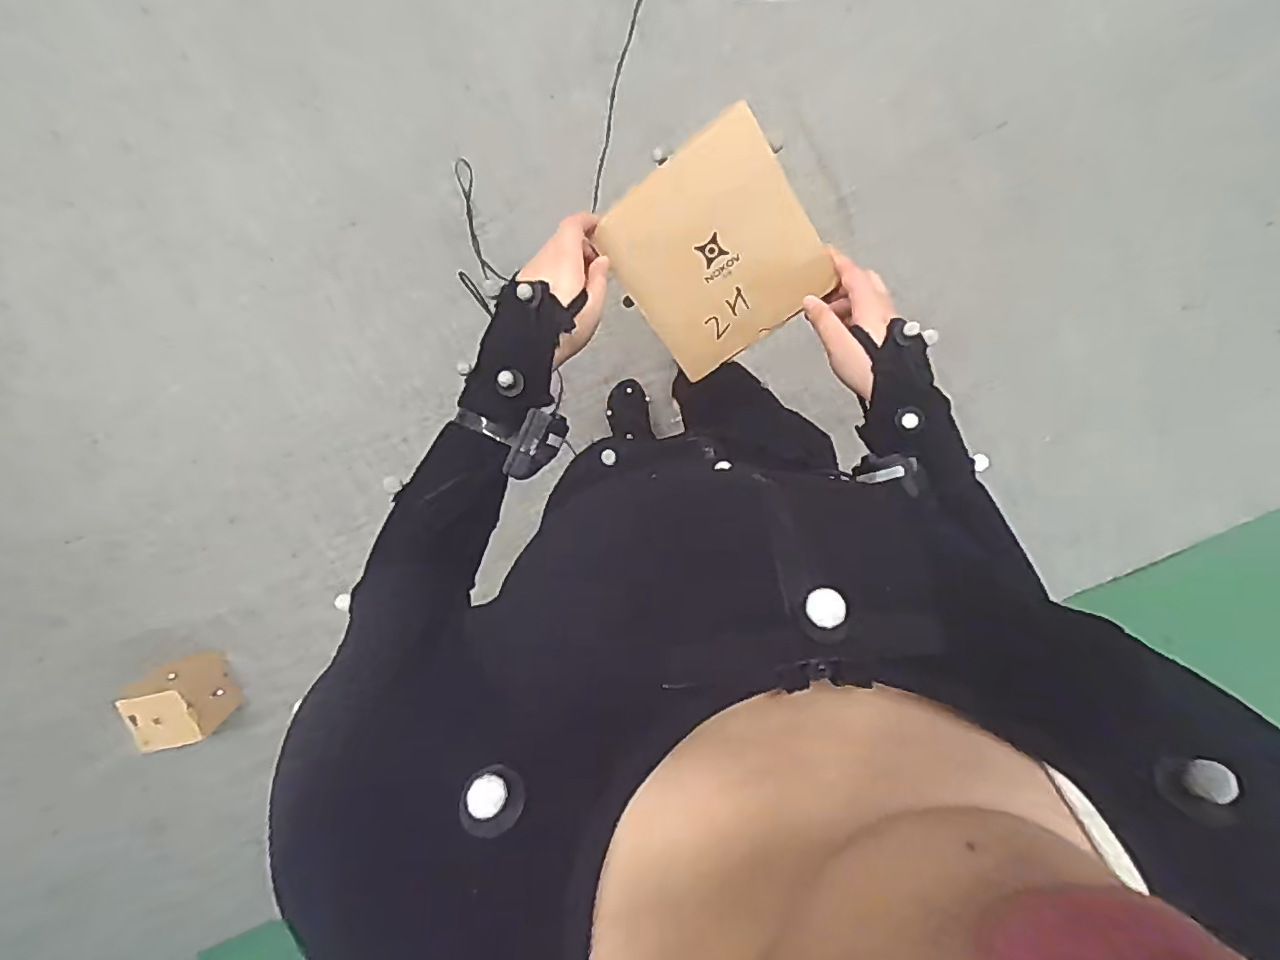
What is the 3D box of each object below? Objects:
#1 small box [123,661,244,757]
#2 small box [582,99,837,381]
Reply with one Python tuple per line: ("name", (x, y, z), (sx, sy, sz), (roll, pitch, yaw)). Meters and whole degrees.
("small box", (-1.248, 0.627, 1.500), (0.179, 0.176, 0.168), (-12, 104, 0))
("small box", (0.066, -0.237, 0.549), (0.168, 0.176, 0.179), (-33, 113, 21))
